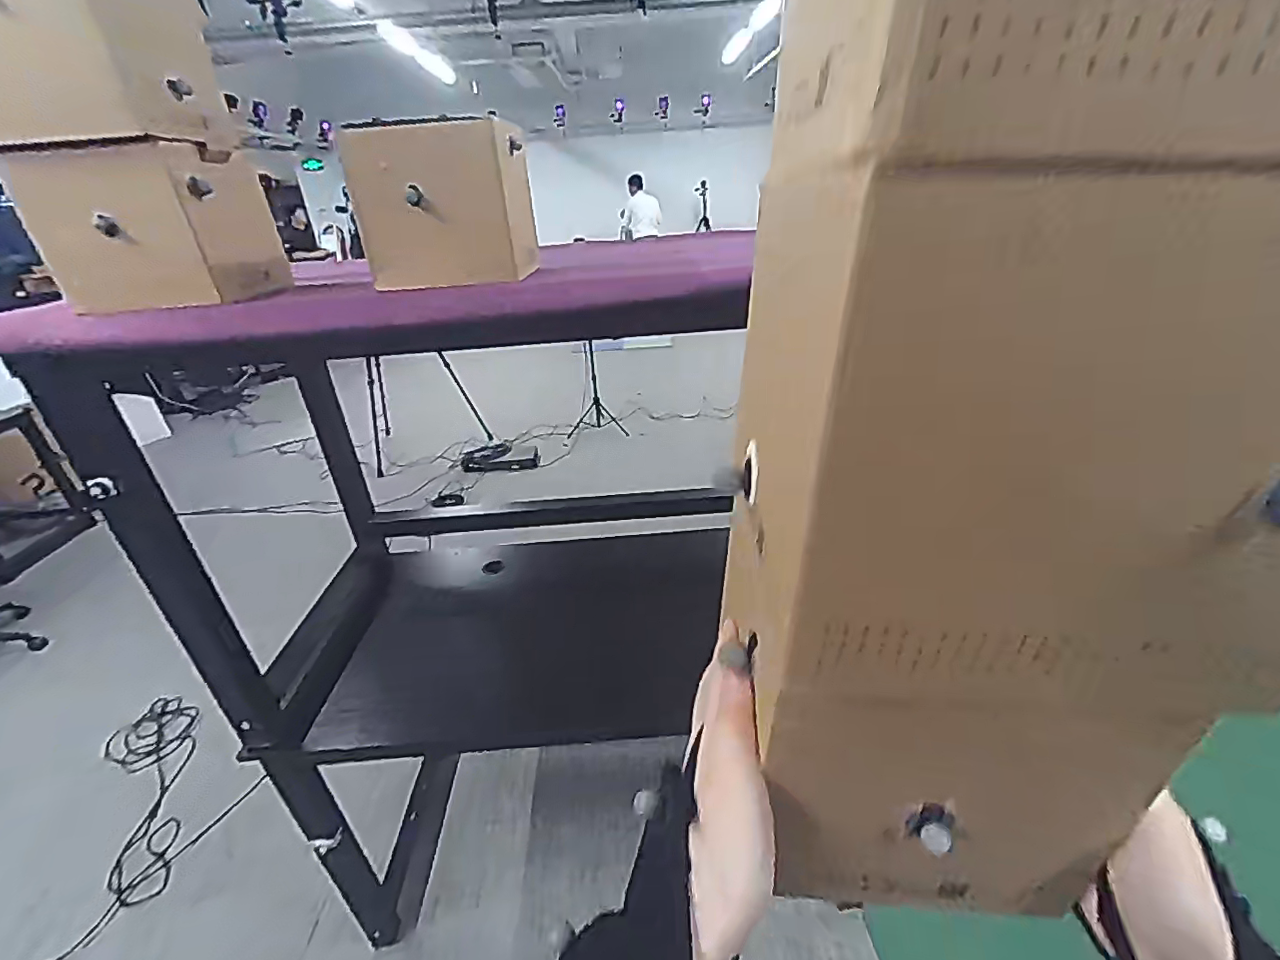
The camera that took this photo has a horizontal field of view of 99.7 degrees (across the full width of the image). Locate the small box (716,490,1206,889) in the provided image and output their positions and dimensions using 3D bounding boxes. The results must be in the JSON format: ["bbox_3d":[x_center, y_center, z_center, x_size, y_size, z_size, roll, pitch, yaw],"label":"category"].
[{"bbox_3d":[0.137,0.100,0.316,0.168,0.176,0.179,3,29,3],"label":"small box"}]

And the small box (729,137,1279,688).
[{"bbox_3d":[0.138,-0.035,0.225,0.179,0.176,0.168,2,28,2],"label":"small box"}]

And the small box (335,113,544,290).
[{"bbox_3d":[-0.229,-0.336,0.670,0.179,0.176,0.168,-4,28,2],"label":"small box"}]

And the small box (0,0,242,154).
[{"bbox_3d":[-0.581,-0.447,0.570,0.179,0.176,0.168,-4,28,-1],"label":"small box"}]

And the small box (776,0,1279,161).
[{"bbox_3d":[0.139,-0.181,0.153,0.179,0.176,0.168,3,28,4],"label":"small box"}]
